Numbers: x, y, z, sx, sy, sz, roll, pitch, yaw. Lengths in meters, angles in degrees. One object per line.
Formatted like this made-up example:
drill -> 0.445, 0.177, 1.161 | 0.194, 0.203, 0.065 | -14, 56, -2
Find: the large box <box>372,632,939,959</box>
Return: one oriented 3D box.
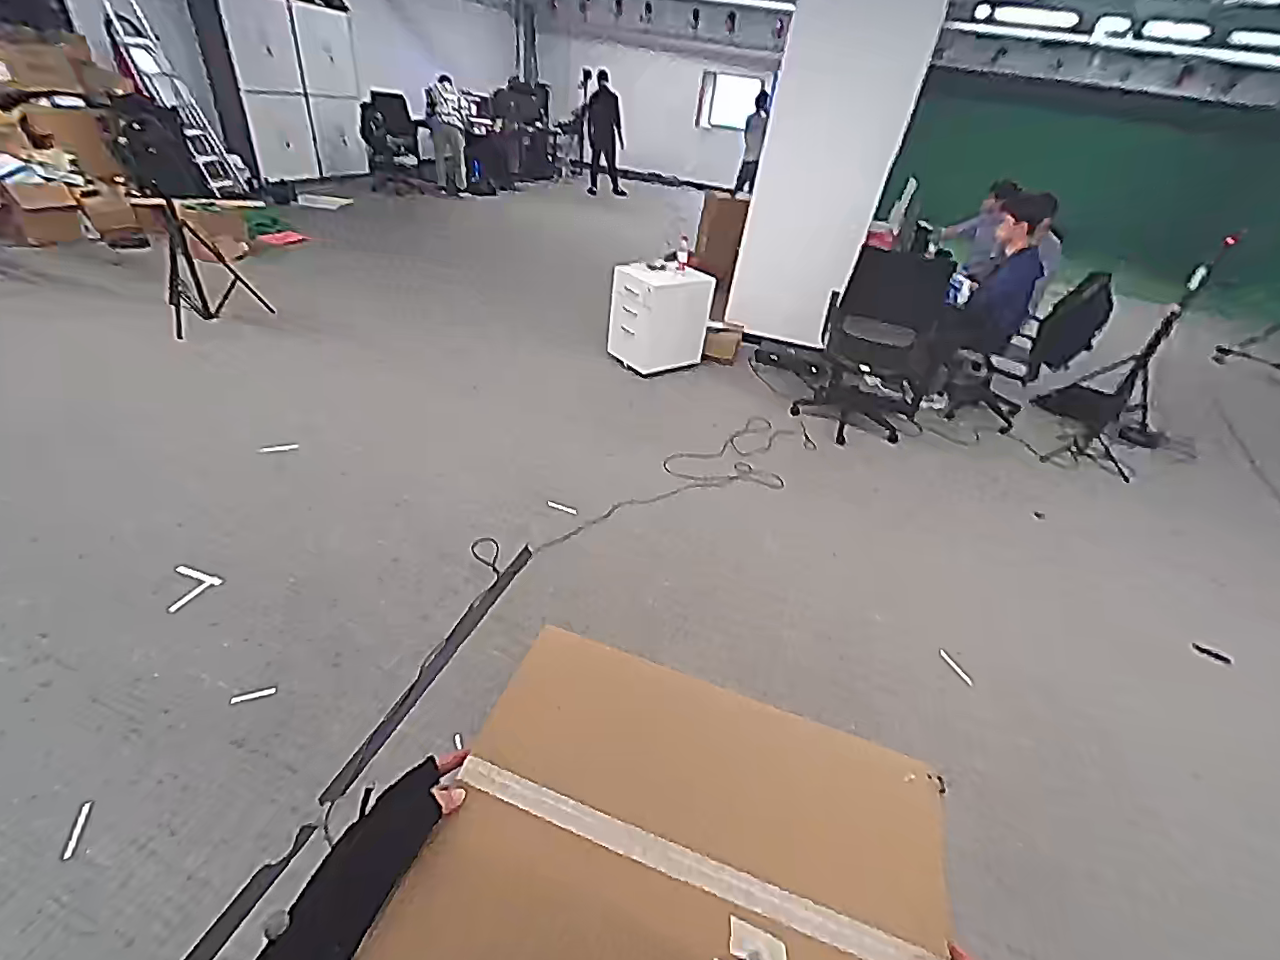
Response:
large box -> 0.027, 0.422, 0.547 | 0.408, 0.320, 0.320 | 17, 44, 12
